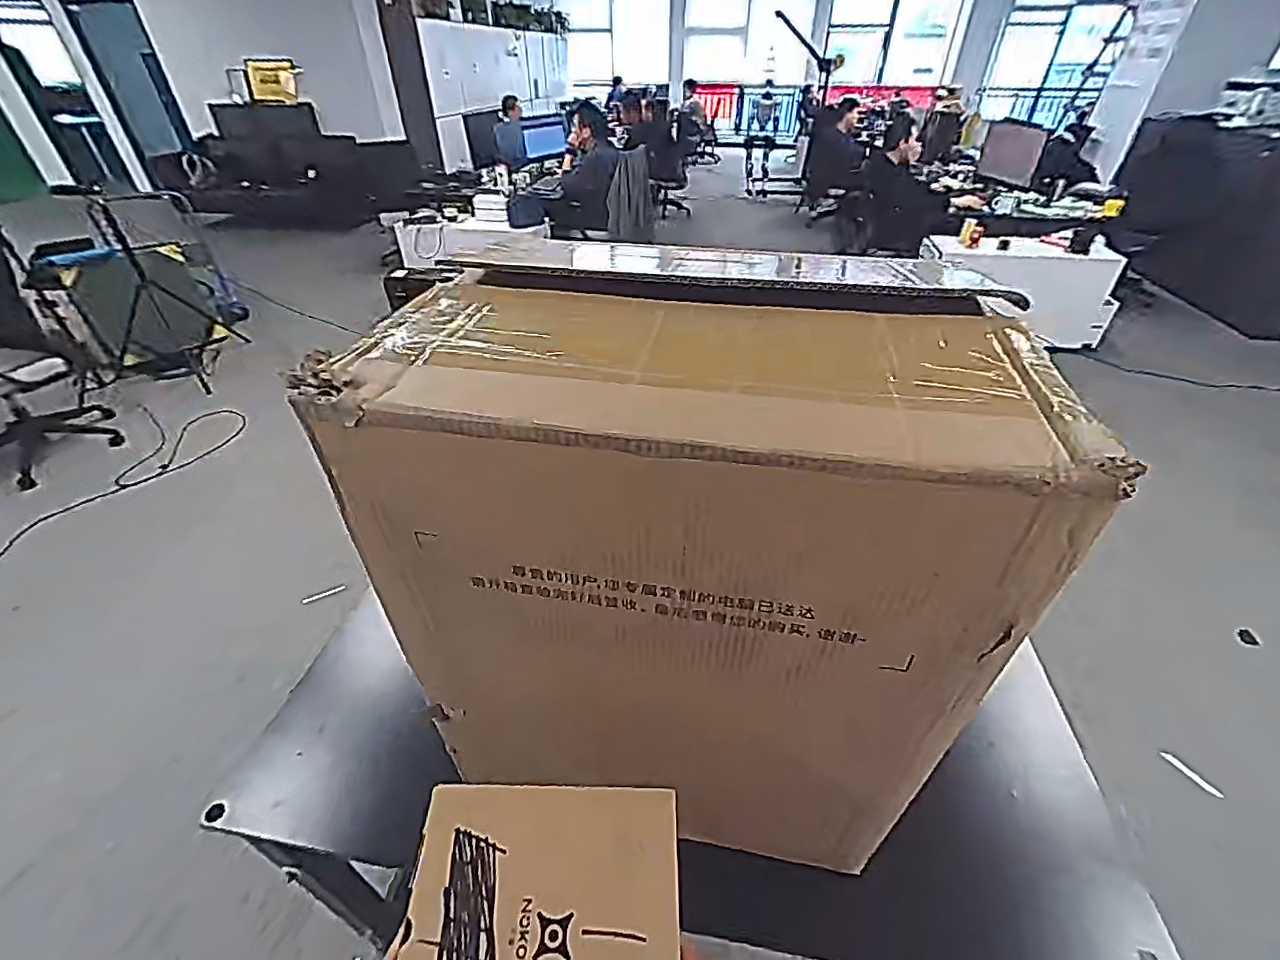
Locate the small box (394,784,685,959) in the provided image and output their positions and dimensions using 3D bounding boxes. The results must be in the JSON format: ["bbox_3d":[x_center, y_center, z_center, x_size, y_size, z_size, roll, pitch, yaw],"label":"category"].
[{"bbox_3d":[-0.061,0.335,0.386,0.179,0.176,0.168,2,45,-1],"label":"small box"}]
